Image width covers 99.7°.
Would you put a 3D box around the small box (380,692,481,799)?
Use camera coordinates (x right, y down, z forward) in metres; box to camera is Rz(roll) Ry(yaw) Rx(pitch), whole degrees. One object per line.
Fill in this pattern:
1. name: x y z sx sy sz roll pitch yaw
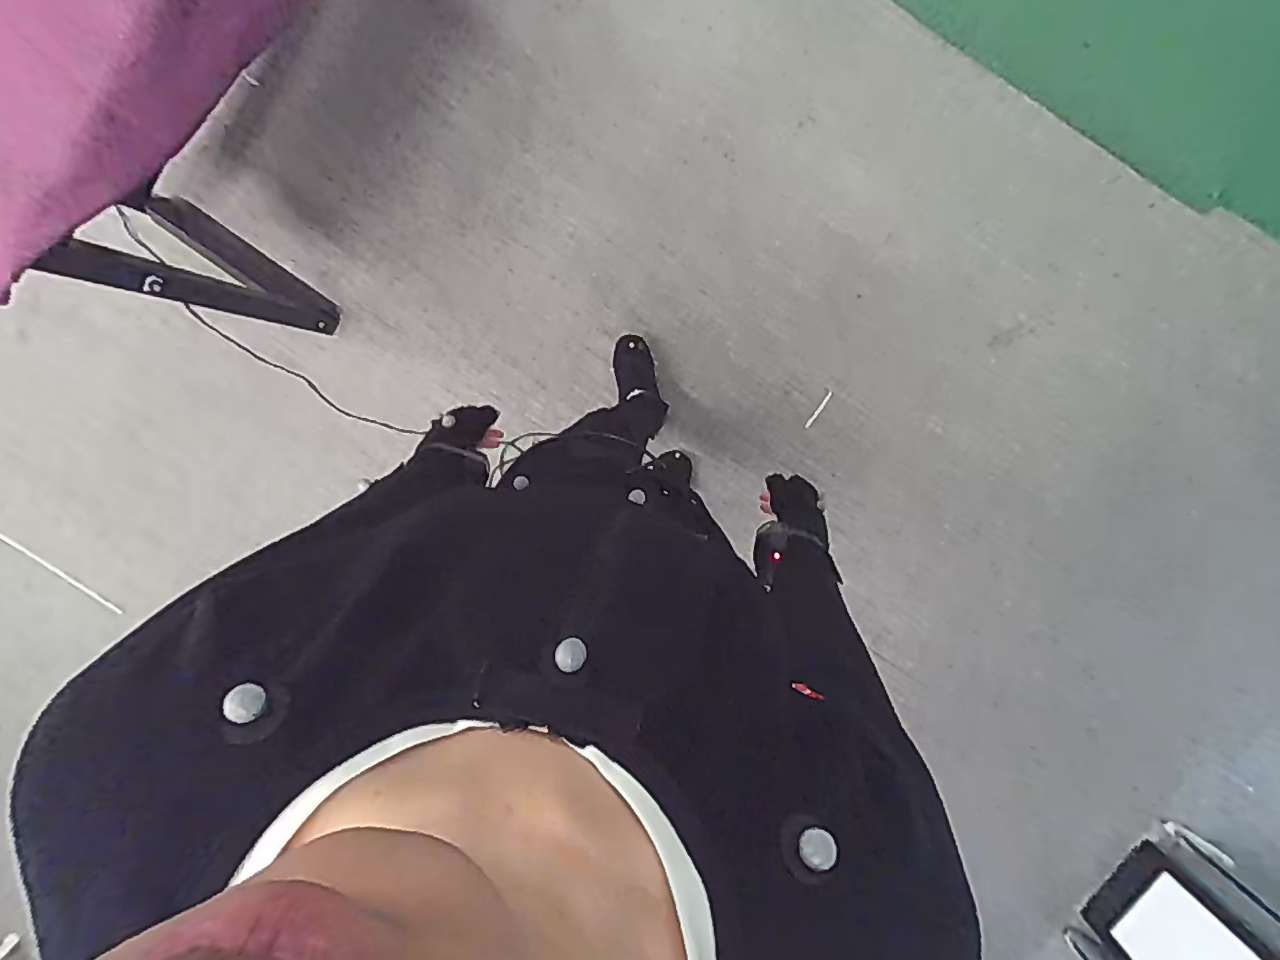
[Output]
1. small box: -0.576 0.733 1.514 0.179 0.176 0.168 34 98 -1
